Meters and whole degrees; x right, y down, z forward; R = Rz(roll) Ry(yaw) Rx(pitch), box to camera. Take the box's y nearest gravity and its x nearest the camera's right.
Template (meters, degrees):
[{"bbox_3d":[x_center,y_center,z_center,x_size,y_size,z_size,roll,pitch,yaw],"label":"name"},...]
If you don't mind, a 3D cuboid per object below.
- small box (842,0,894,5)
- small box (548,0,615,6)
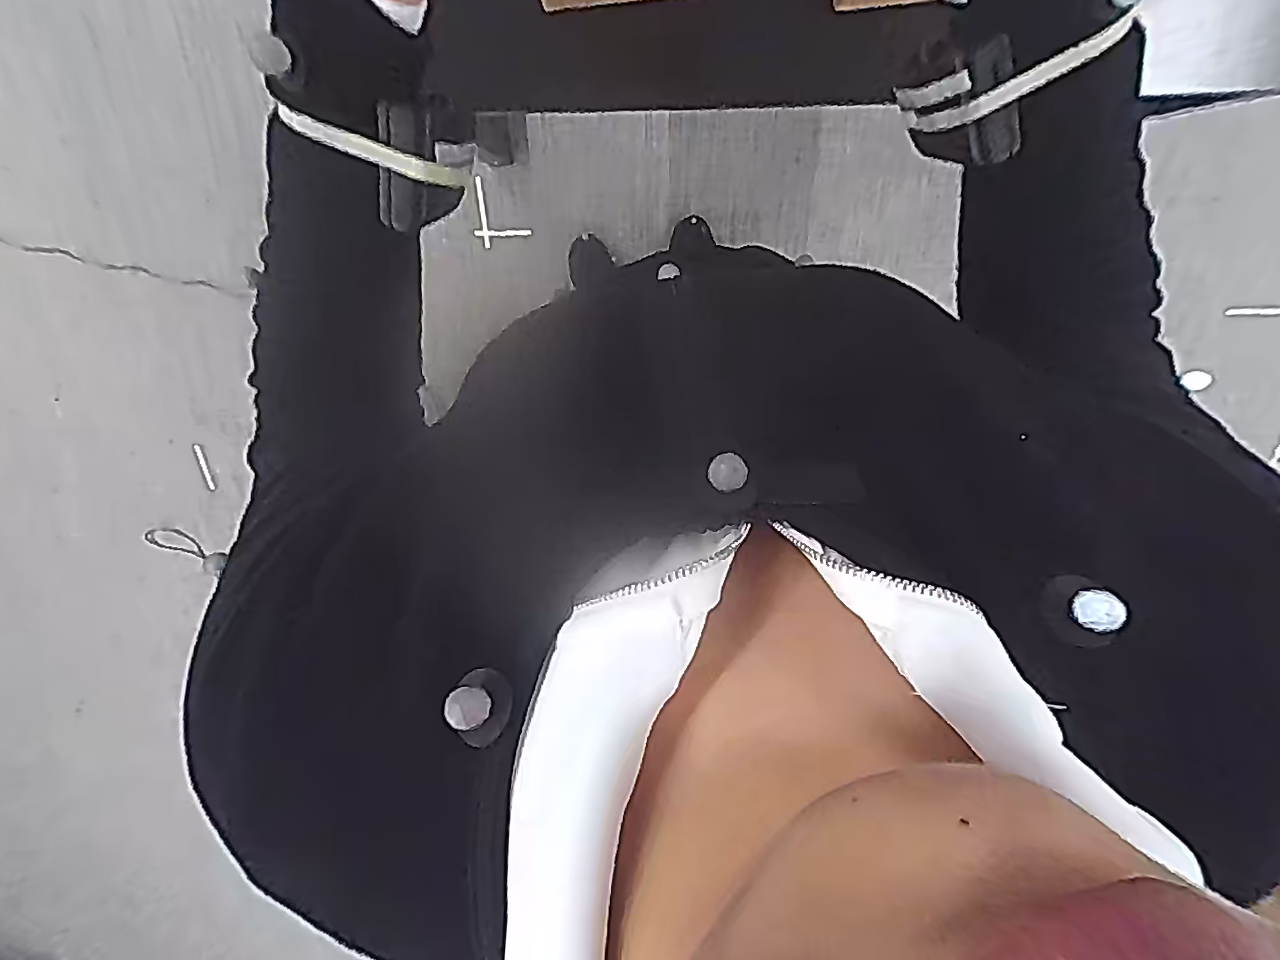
[{"bbox_3d":[0.278,-0.537,0.452,0.179,0.176,0.168,-6,114,1],"label":"small box"},{"bbox_3d":[-0.017,-0.530,0.445,0.179,0.176,0.168,-6,115,2],"label":"small box"}]
